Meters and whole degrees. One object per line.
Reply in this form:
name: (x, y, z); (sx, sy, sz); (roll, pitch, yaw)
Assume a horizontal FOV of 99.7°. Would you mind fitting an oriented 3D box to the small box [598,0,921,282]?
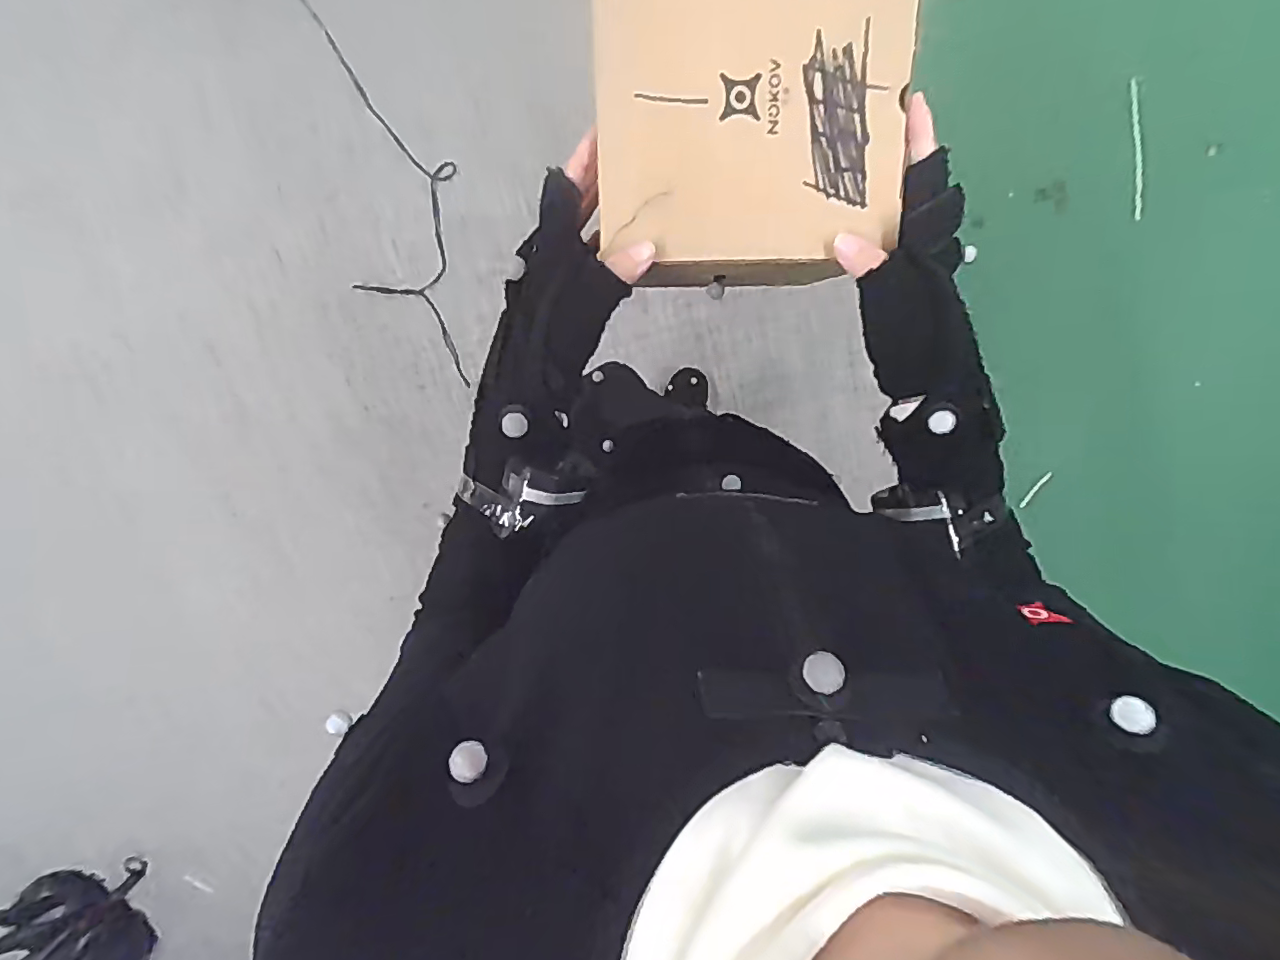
small box: (0.064, -0.235, 0.375); (0.179, 0.176, 0.168); (-5, 105, -2)
